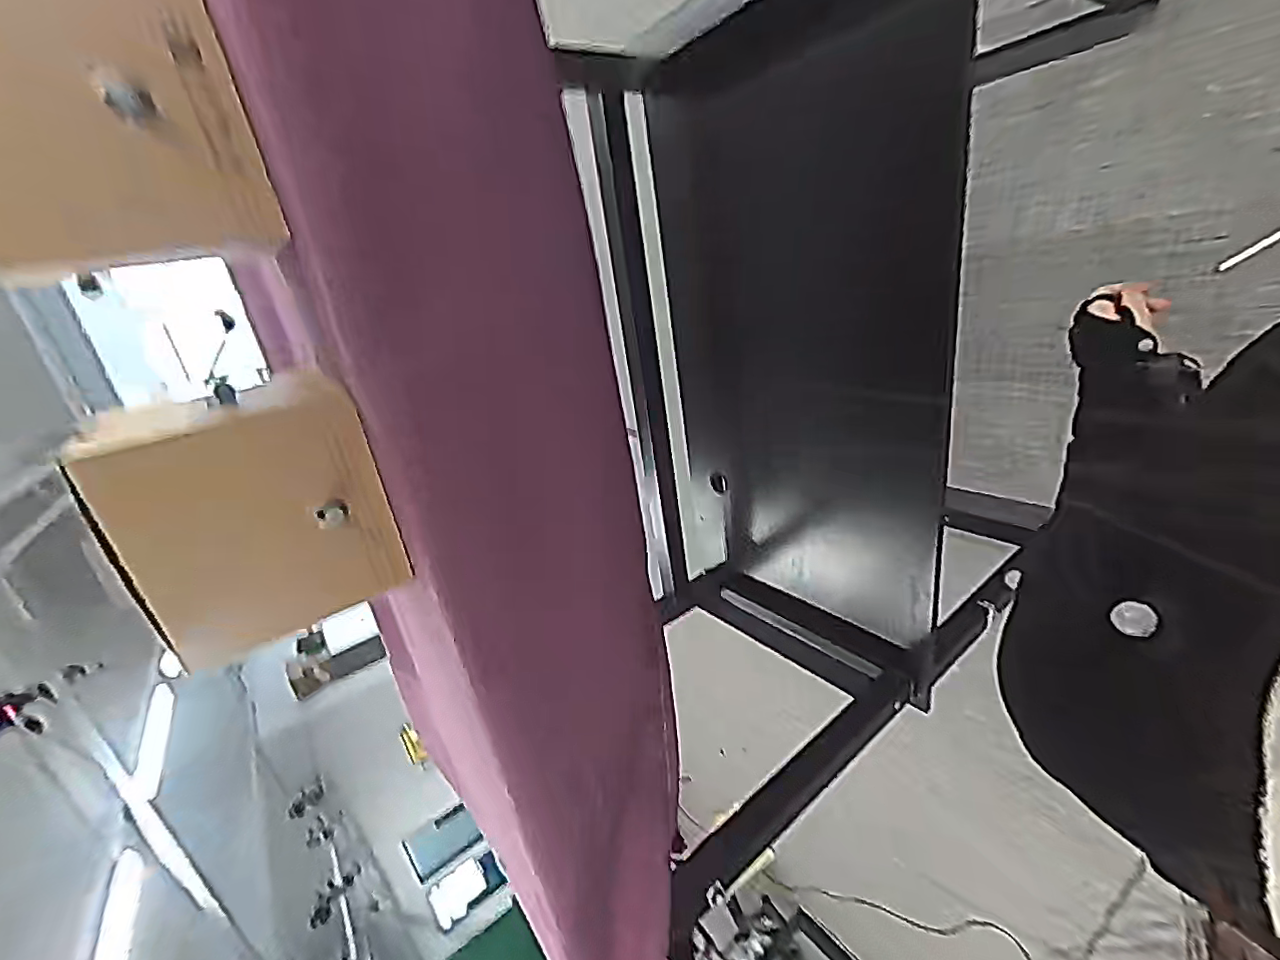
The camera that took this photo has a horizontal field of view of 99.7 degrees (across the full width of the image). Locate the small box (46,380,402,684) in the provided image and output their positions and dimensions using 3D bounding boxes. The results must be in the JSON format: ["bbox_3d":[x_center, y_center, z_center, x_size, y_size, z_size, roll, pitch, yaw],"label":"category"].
[{"bbox_3d":[-0.327,0.023,0.456,0.168,0.176,0.179,24,129,50],"label":"small box"}]

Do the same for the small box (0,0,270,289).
[{"bbox_3d":[-0.373,-0.224,0.359,0.179,0.176,0.168,24,130,49],"label":"small box"}]
